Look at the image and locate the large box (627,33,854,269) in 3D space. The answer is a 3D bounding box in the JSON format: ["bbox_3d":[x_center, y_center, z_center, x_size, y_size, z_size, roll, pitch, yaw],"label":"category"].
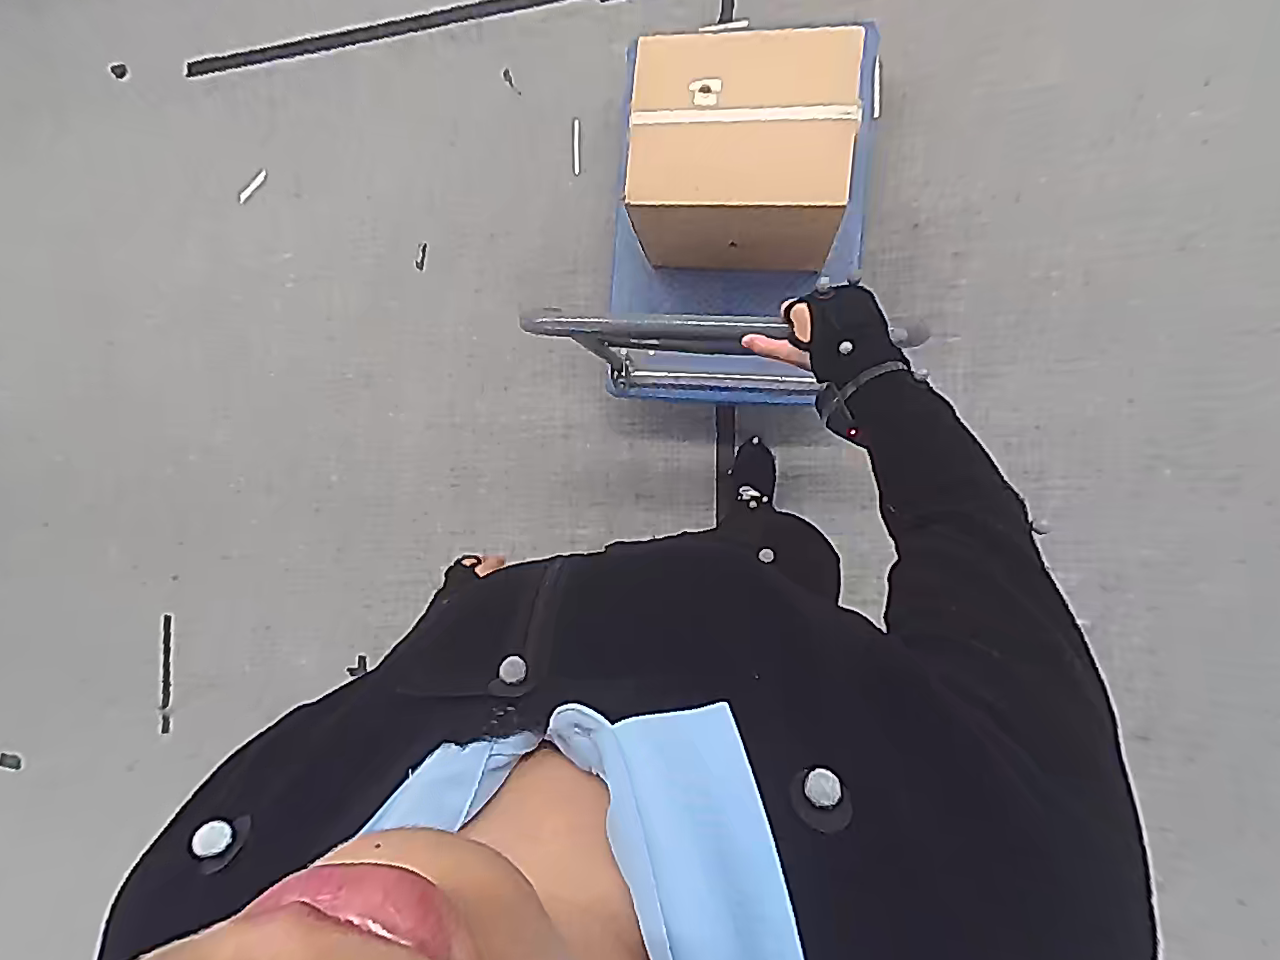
[{"bbox_3d":[0.208,-0.654,1.143,0.408,0.320,0.320,5,90,11],"label":"large box"}]
